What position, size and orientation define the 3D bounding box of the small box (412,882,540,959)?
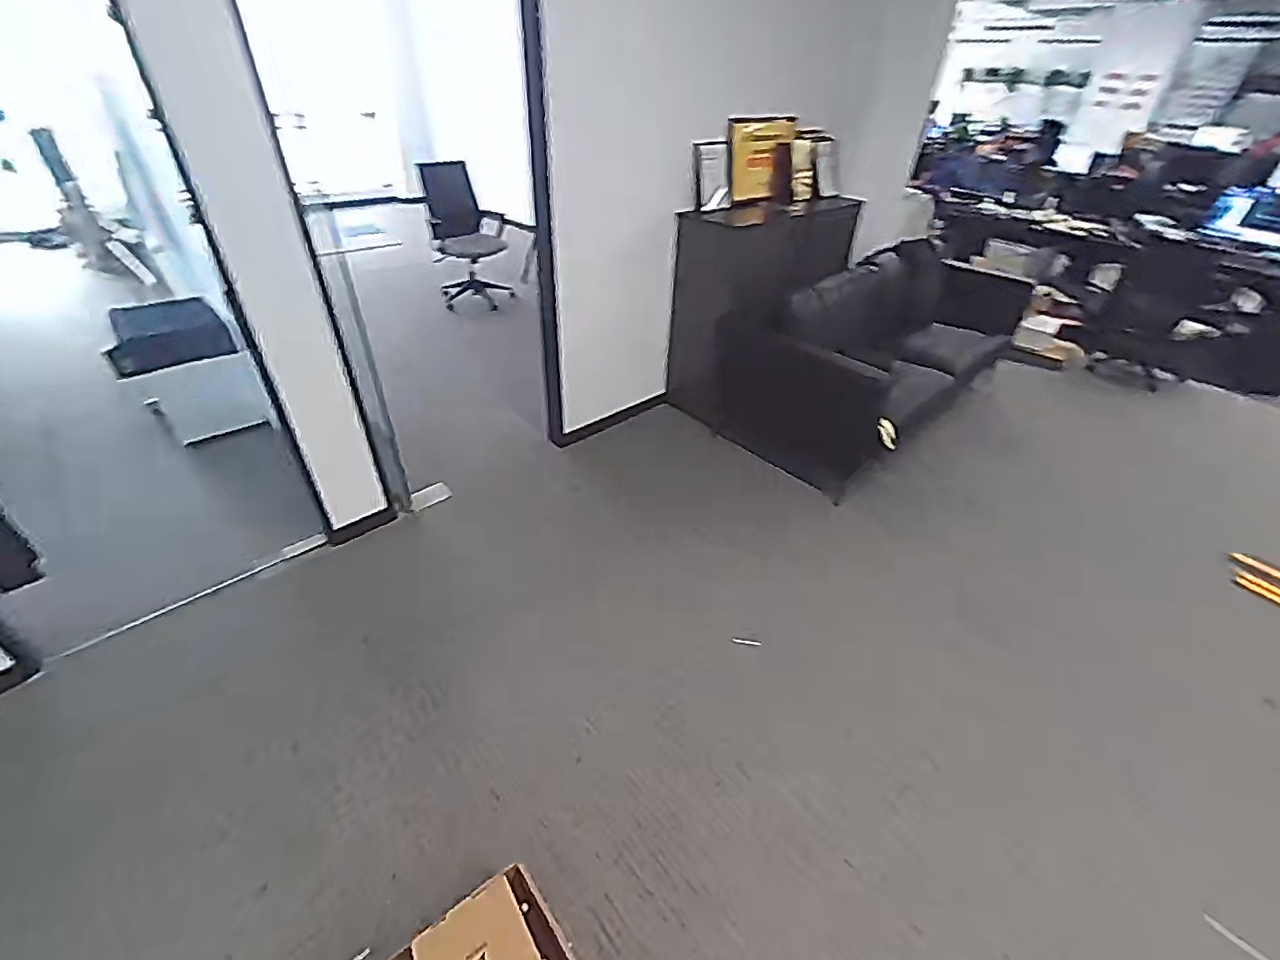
[{"bbox_3d":[-0.253,0.826,0.887,0.168,0.176,0.179,-22,43,-29],"label":"small box"}]
